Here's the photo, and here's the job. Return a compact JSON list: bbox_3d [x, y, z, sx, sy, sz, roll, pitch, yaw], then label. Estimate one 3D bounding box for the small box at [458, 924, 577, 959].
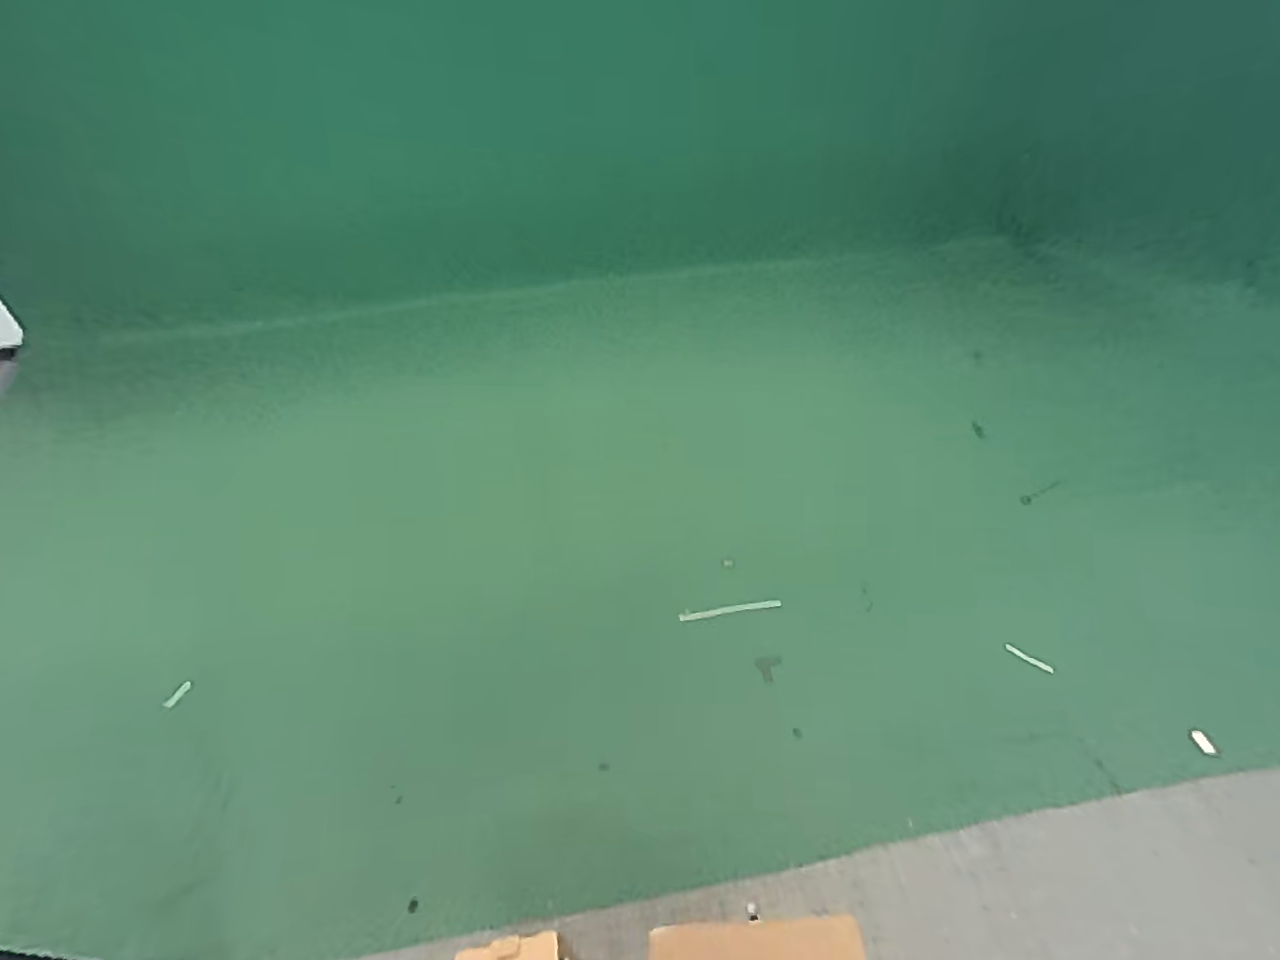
[{"bbox_3d":[-0.187,0.841,0.854,0.168,0.176,0.179,-10,42,-4],"label":"small box"}]
